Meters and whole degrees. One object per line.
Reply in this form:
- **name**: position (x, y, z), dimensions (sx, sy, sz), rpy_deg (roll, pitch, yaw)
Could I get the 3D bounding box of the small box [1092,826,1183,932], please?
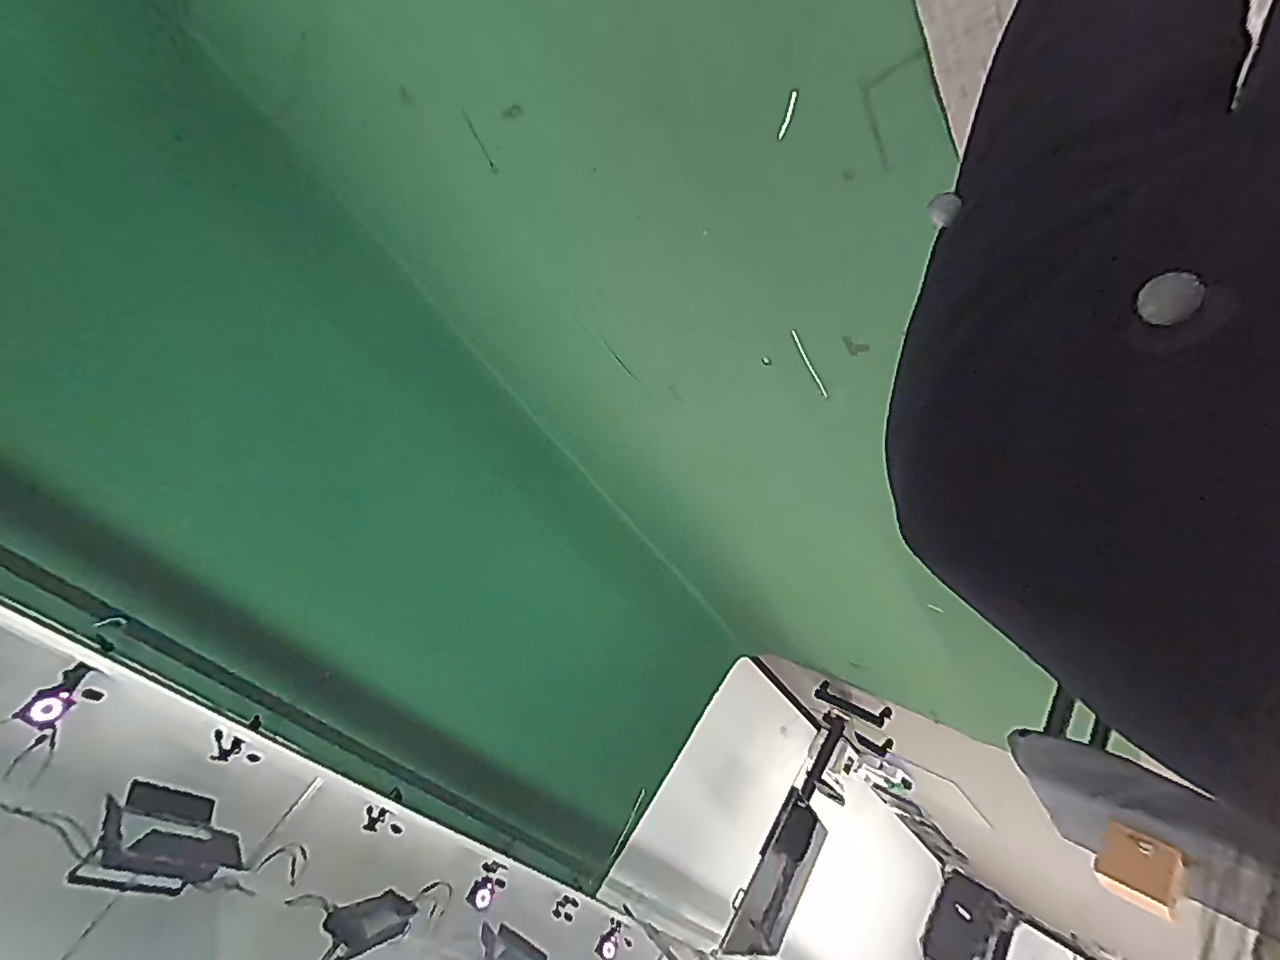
- **small box**: position (1.486, 1.182, 1.611), dimensions (0.168, 0.176, 0.179), rpy_deg (4, 140, 53)
